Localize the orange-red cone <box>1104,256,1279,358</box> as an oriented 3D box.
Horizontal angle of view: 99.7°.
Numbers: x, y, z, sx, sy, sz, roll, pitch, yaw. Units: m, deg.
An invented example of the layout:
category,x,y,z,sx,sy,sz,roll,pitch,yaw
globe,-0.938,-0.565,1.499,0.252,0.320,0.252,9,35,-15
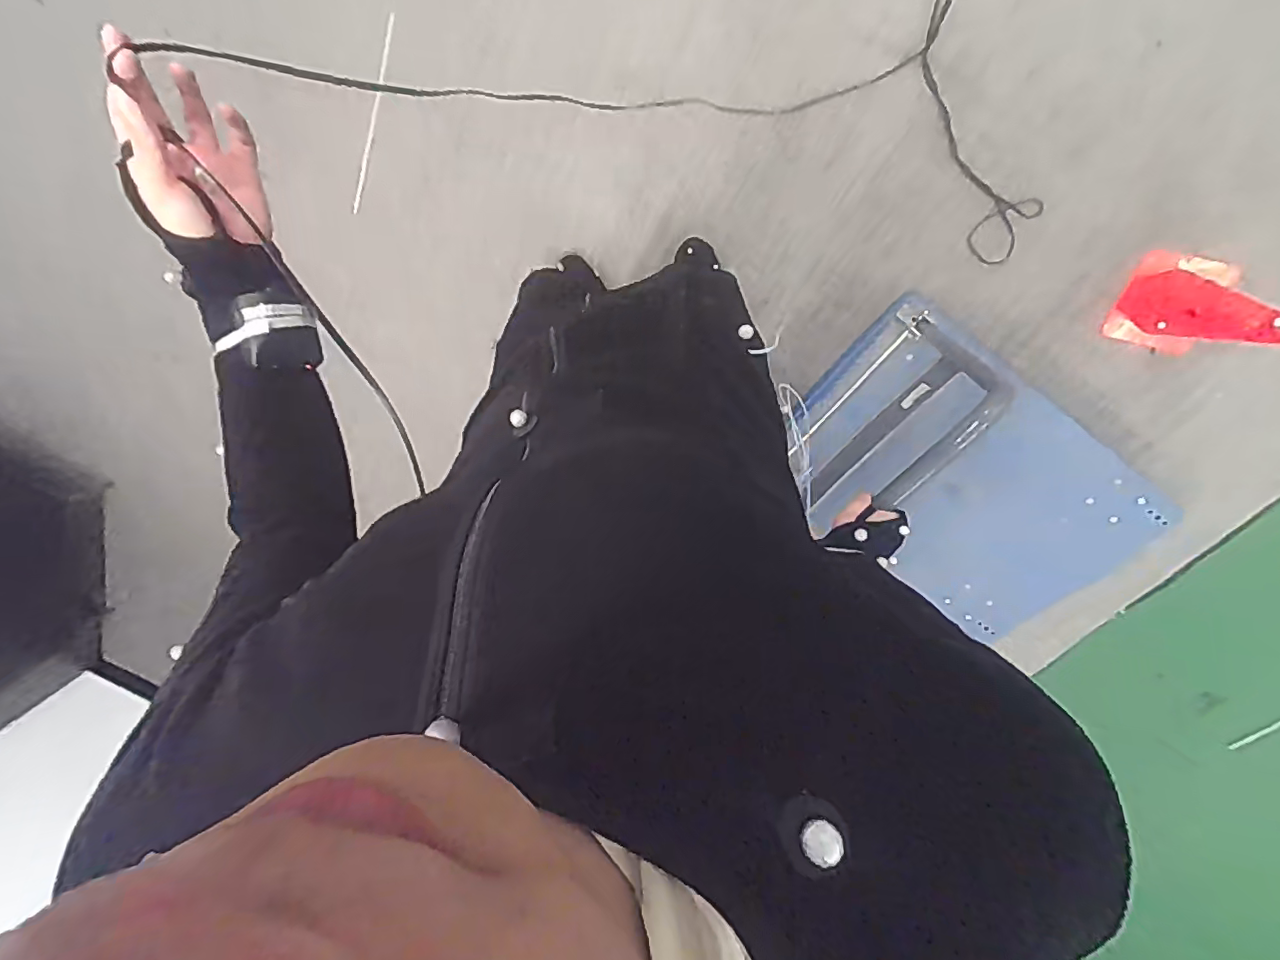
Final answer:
category,x,y,z,sx,sy,sz,roll,pitch,yaw
orange-red cone,1.184,-0.321,1.094,0.198,0.360,0.199,17,117,3
